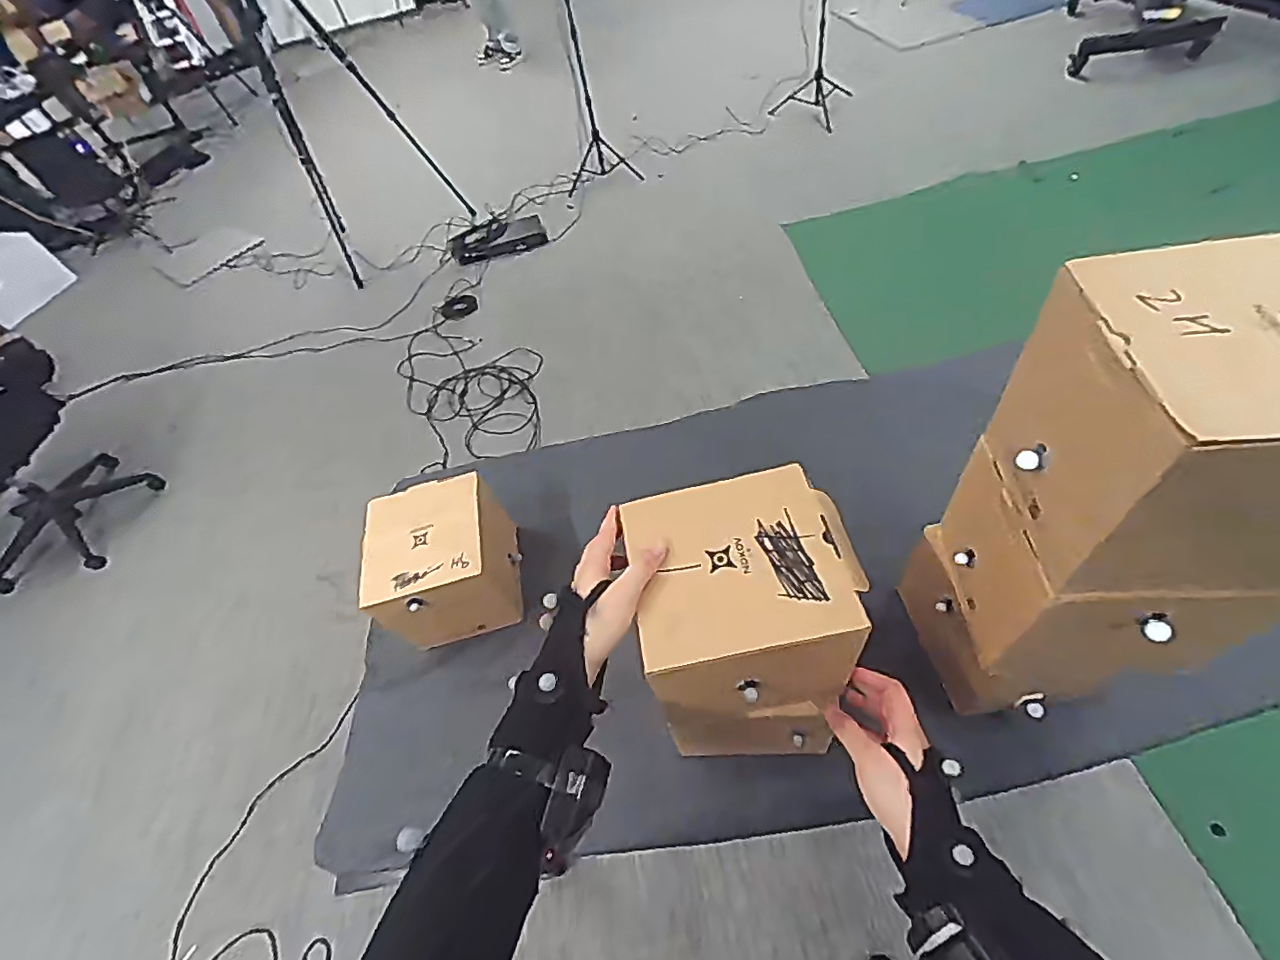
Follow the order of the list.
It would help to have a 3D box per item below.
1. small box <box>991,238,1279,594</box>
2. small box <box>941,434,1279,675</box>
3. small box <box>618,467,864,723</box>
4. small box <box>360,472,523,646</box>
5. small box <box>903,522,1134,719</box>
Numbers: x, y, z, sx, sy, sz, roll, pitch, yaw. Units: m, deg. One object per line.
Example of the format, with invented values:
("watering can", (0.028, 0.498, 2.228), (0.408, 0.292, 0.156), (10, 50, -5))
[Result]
("small box", (0.374, -0.034, 0.360), (0.179, 0.176, 0.168), (-3, 52, 12))
("small box", (0.402, 0.067, 0.487), (0.179, 0.176, 0.168), (-5, 52, 11))
("small box", (0.087, 0.116, 0.518), (0.179, 0.176, 0.168), (-13, 51, 4))
("small box", (-0.283, 0.120, 0.805), (0.168, 0.176, 0.179), (-16, 53, 0))
("small box", (0.429, 0.153, 0.623), (0.168, 0.176, 0.179), (-13, 52, 4))
